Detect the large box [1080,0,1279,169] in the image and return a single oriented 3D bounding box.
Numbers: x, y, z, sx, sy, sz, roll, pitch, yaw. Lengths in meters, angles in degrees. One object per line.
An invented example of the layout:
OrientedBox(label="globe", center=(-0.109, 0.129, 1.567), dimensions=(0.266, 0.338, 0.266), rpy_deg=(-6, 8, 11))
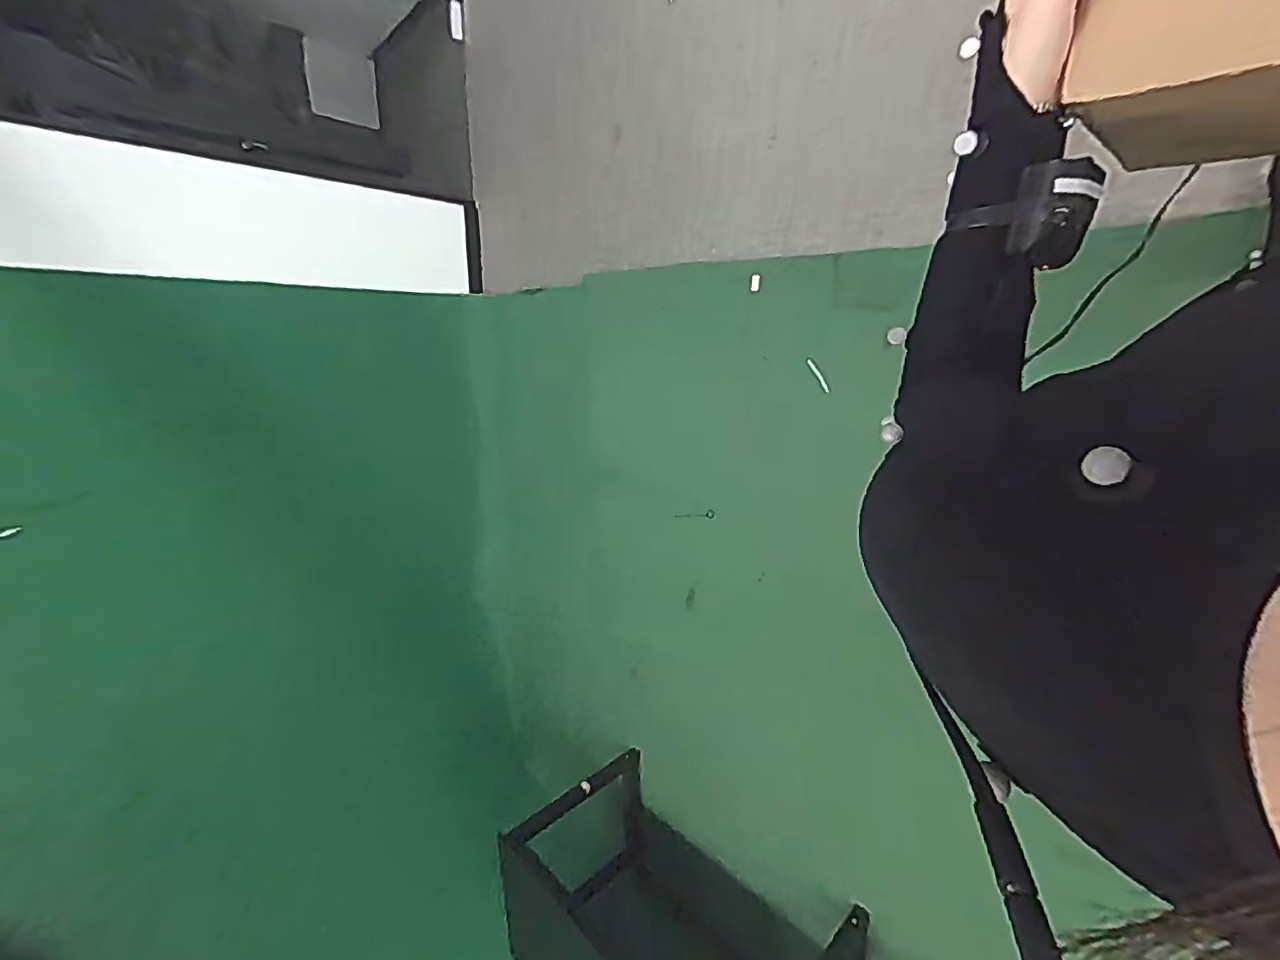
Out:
OrientedBox(label="large box", center=(0.537, -0.396, 0.287), dimensions=(0.408, 0.320, 0.320), rpy_deg=(17, 115, 43))
